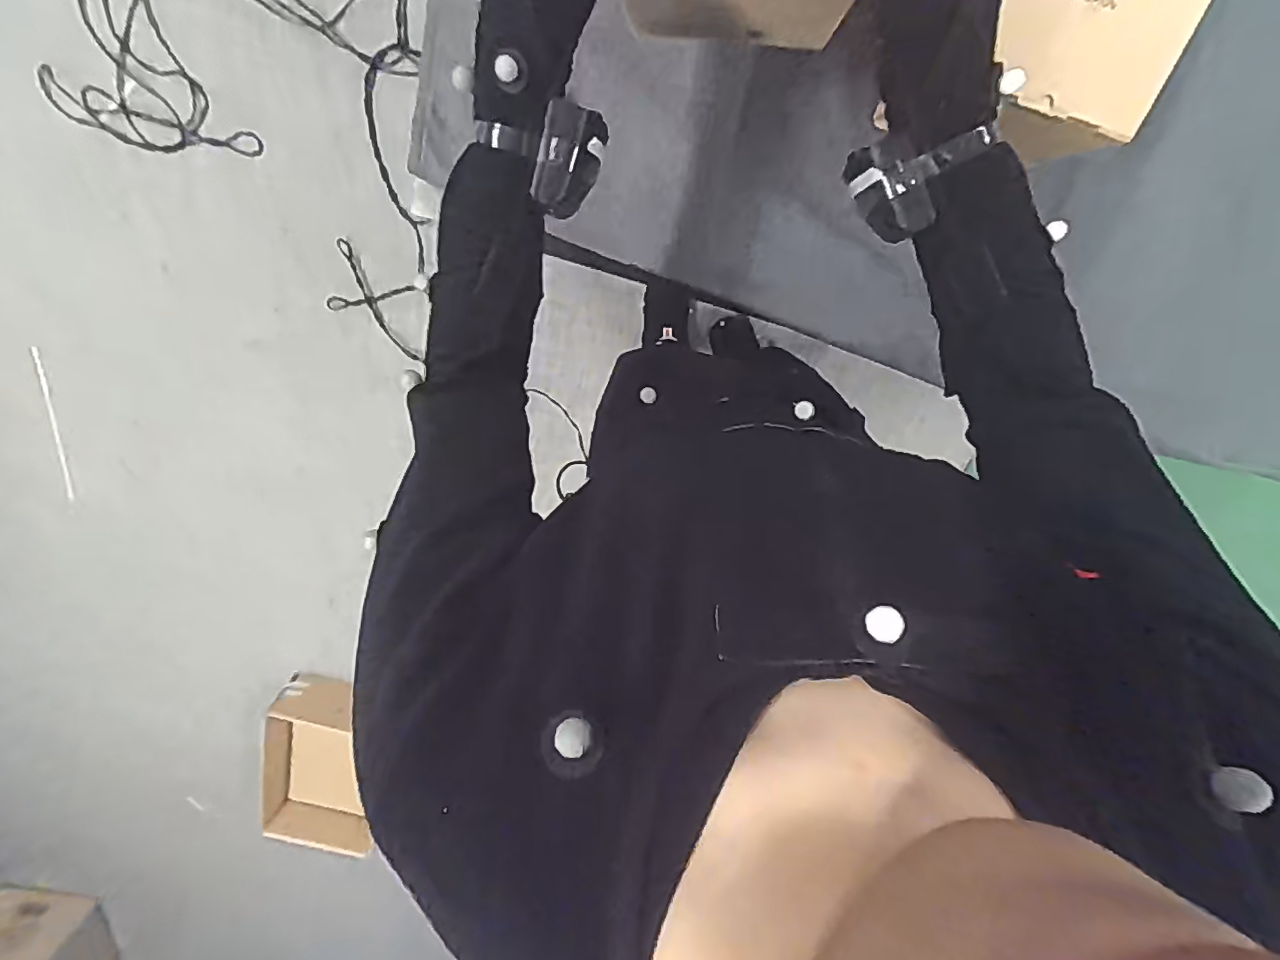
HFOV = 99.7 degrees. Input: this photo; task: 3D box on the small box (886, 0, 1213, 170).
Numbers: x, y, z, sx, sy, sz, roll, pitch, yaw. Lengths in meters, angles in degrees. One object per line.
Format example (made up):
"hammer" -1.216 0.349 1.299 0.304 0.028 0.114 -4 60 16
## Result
"small box" 0.350 -0.402 0.477 0.168 0.176 0.179 16 113 -4
